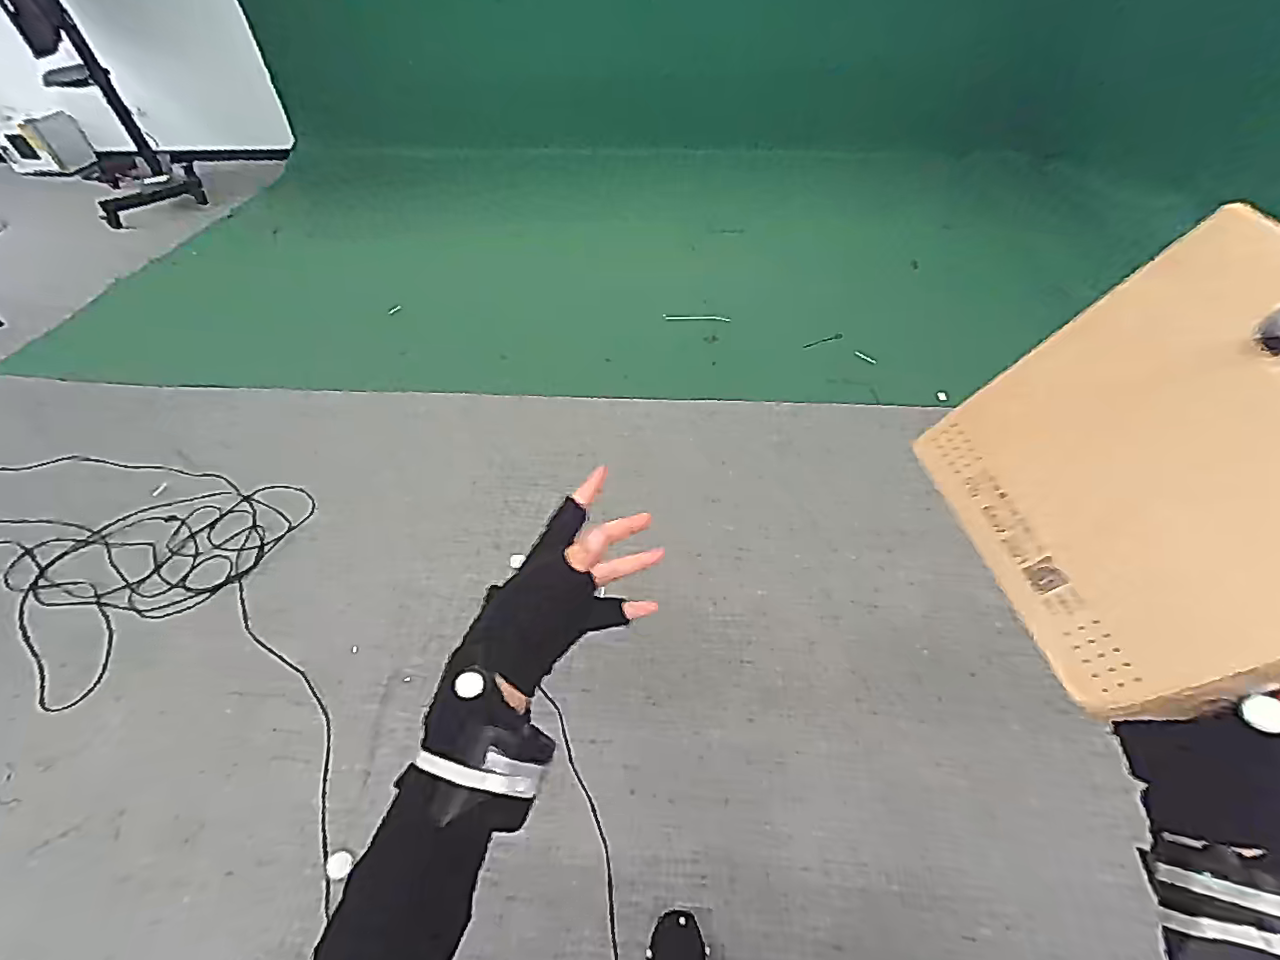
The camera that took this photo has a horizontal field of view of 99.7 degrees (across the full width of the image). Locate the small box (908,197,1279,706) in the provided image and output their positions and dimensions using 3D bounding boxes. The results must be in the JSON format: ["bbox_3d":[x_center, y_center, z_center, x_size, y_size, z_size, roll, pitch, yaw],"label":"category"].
[{"bbox_3d":[0.282,0.006,0.279,0.179,0.176,0.168,14,45,-32],"label":"small box"}]
